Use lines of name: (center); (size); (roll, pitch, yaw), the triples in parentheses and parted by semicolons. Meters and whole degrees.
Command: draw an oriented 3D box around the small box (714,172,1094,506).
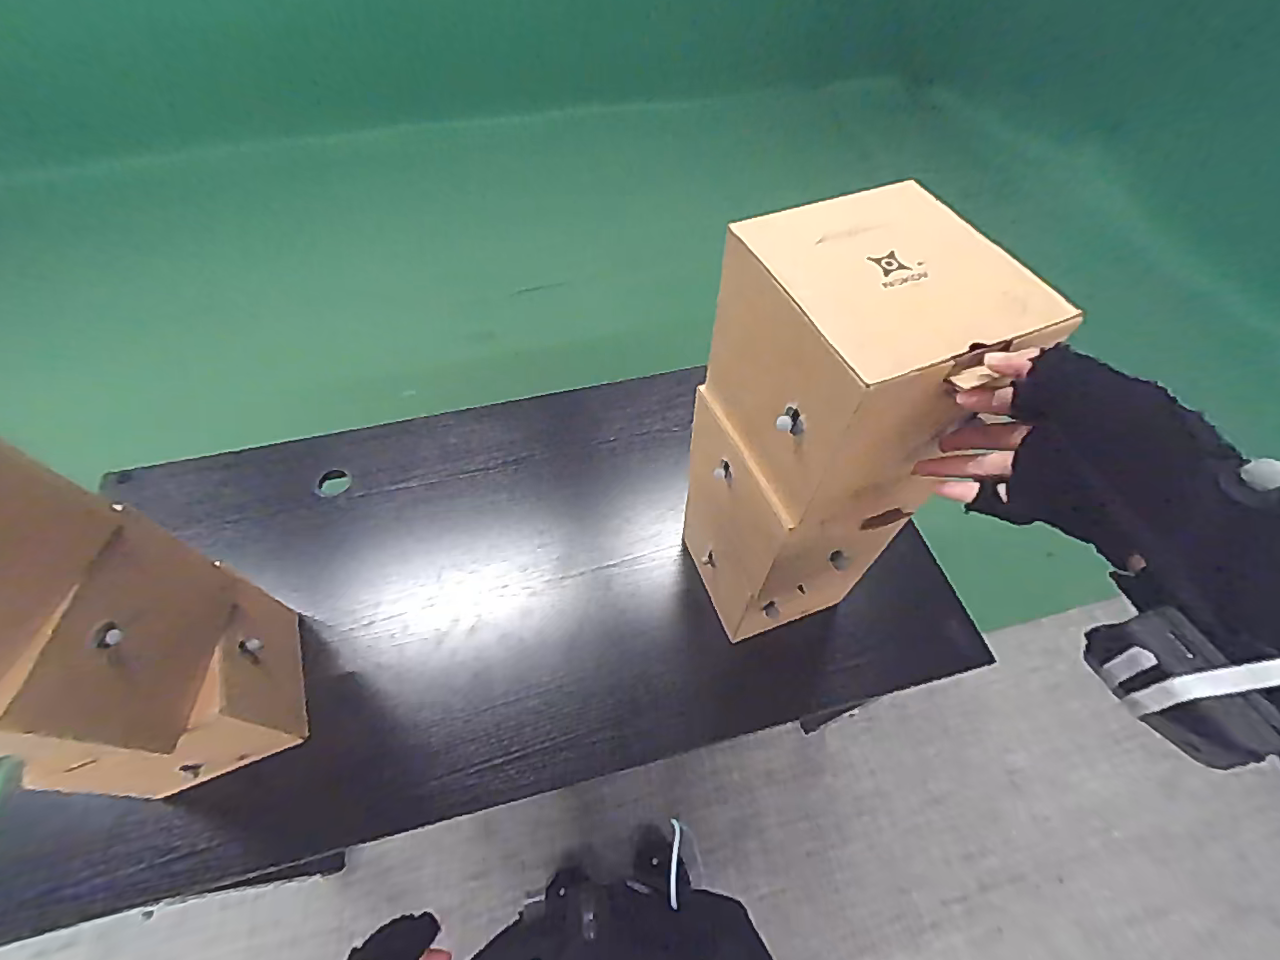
small box: (0.171, -0.099, 0.421); (0.168, 0.176, 0.179); (-19, 58, -12)

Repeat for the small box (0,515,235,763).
small box: (-0.508, 0.146, 0.474); (0.168, 0.176, 0.179); (-1, 57, -2)

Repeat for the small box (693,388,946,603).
small box: (0.165, 0.001, 0.570); (0.168, 0.176, 0.179); (-19, 59, -11)

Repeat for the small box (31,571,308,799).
small box: (-0.506, 0.235, 0.613); (0.168, 0.176, 0.179); (-19, 60, -13)

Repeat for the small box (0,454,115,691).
small box: (-0.510, 0.052, 0.340); (0.168, 0.176, 0.179); (9, 59, 4)
